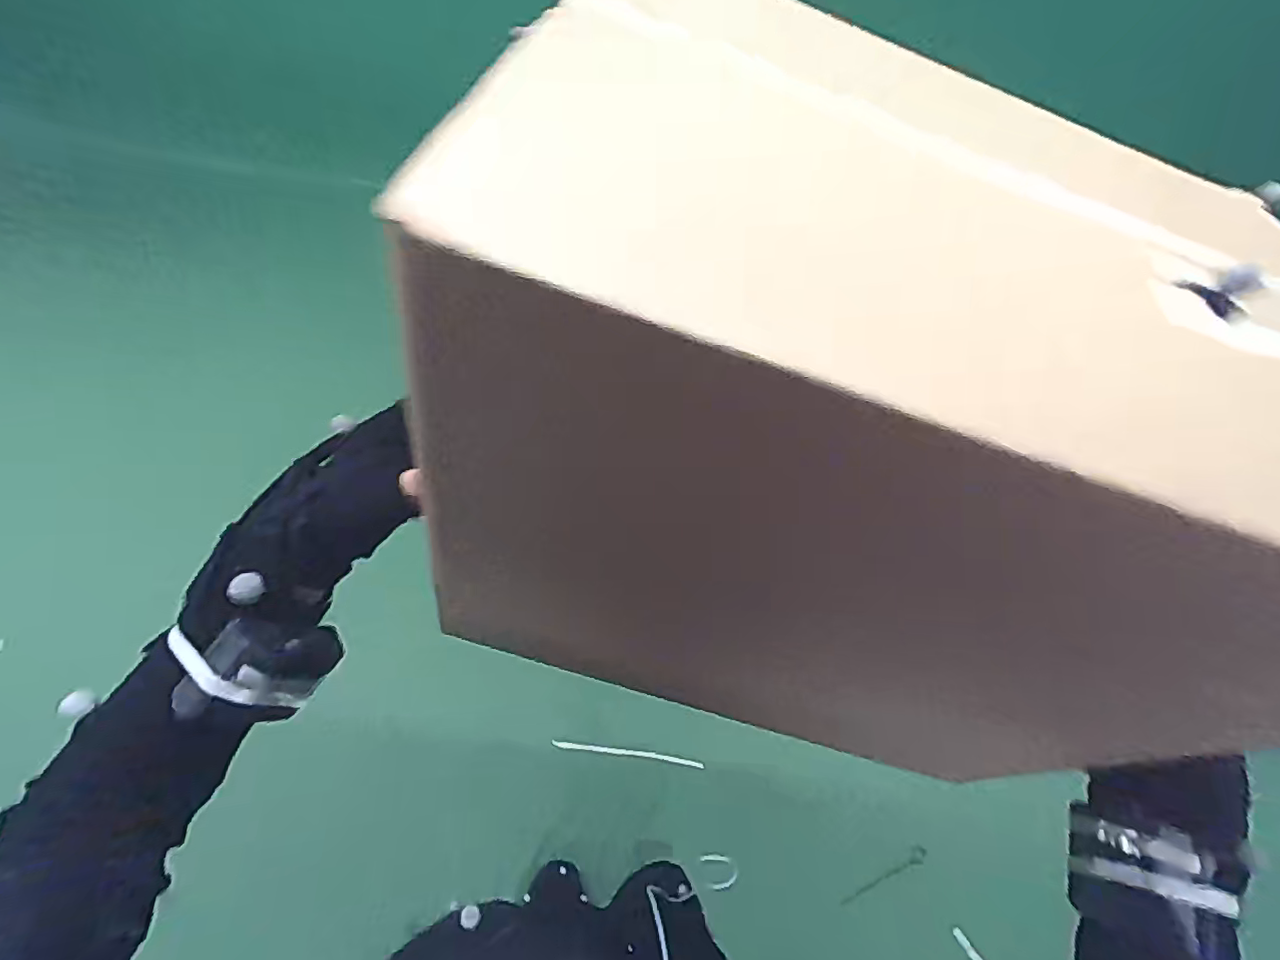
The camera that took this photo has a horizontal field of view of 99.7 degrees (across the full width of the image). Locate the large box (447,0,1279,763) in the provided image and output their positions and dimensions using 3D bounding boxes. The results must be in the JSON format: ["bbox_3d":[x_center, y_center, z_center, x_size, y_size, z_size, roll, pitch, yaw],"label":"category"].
[{"bbox_3d":[0.122,-0.038,0.369,0.408,0.320,0.320,19,54,-5],"label":"large box"}]
